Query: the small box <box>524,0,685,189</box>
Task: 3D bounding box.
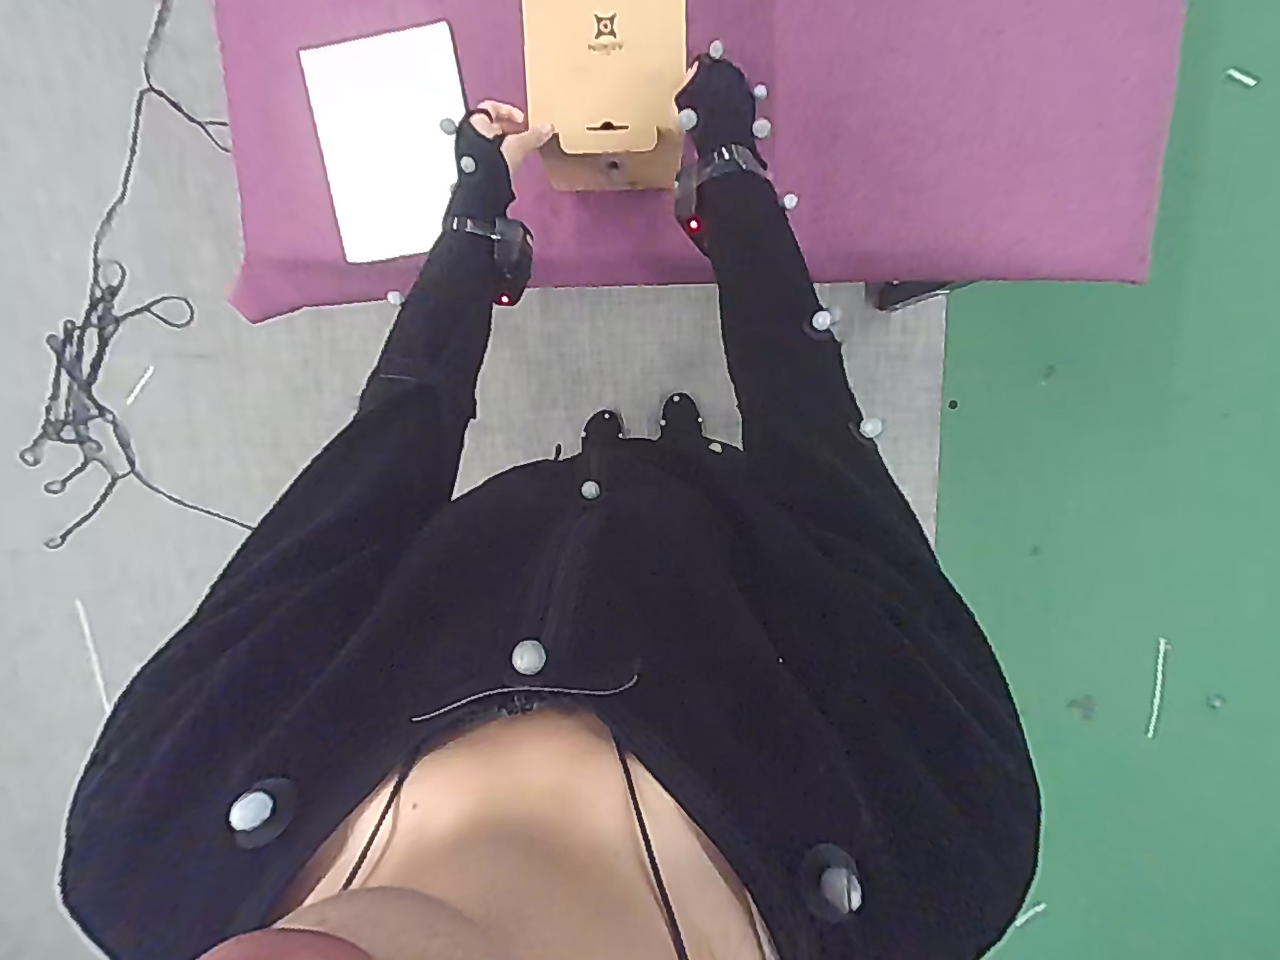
[{"bbox_3d":[-0.034,-0.457,0.630,0.168,0.176,0.179,0,100,1],"label":"small box"}]
